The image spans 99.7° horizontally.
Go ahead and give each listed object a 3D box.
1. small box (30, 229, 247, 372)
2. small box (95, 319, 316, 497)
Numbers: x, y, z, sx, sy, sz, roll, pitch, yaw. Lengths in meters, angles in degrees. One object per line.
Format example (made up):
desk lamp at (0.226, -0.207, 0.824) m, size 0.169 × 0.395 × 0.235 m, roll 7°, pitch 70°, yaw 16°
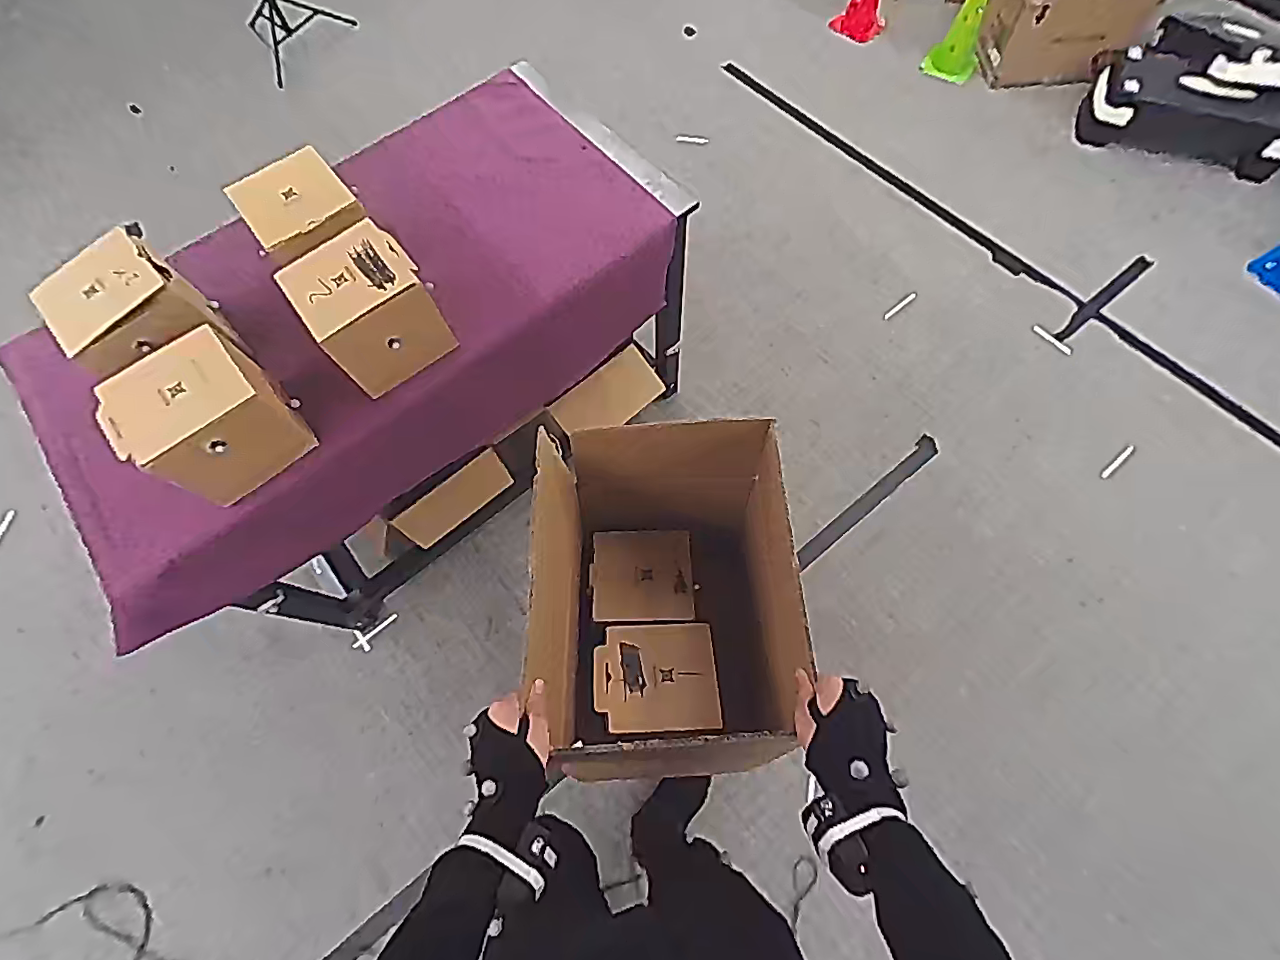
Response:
small box at (-0.817, -0.265, 0.898) m, size 0.179 × 0.176 × 0.168 m, roll -40°, pitch 74°, yaw -13°
small box at (-0.652, -0.101, 0.832) m, size 0.179 × 0.176 × 0.168 m, roll -38°, pitch 73°, yaw -13°
